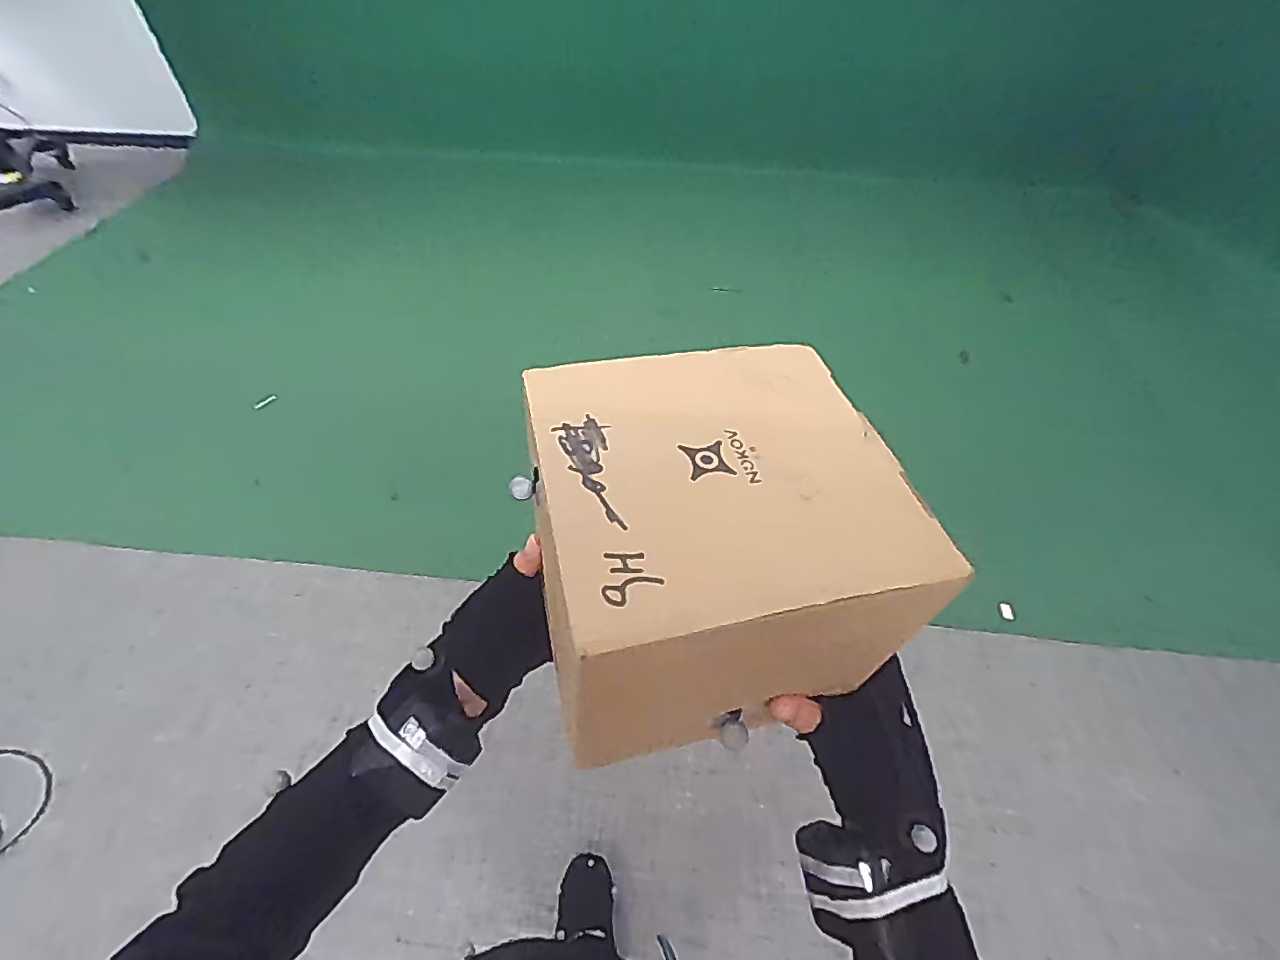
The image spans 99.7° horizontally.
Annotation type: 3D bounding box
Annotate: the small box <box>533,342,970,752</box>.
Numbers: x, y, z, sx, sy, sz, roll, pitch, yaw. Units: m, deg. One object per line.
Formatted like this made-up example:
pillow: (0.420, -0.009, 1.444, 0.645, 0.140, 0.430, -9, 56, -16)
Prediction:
small box: (0.033, 0.039, 0.321, 0.179, 0.176, 0.168, -7, 51, -14)
